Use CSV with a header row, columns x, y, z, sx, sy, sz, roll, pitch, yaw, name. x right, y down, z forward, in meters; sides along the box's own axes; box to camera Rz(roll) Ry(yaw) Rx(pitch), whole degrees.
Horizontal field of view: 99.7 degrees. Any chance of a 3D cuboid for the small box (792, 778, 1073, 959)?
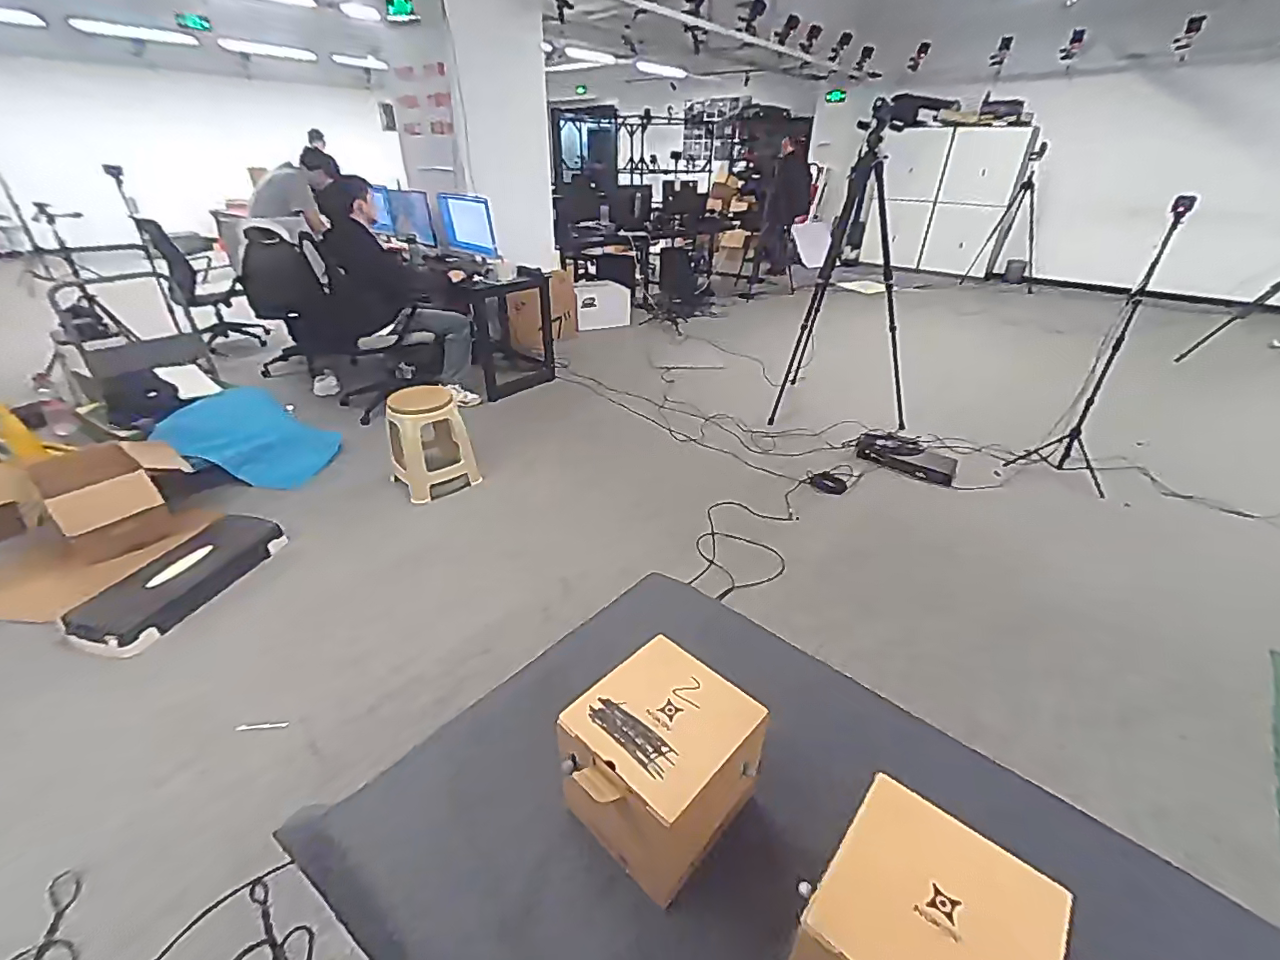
x,y,z,sx,sy,sz,roll,pitch,yaw,name
0.246,0.425,0.482,0.168,0.176,0.179,24,36,34,small box
